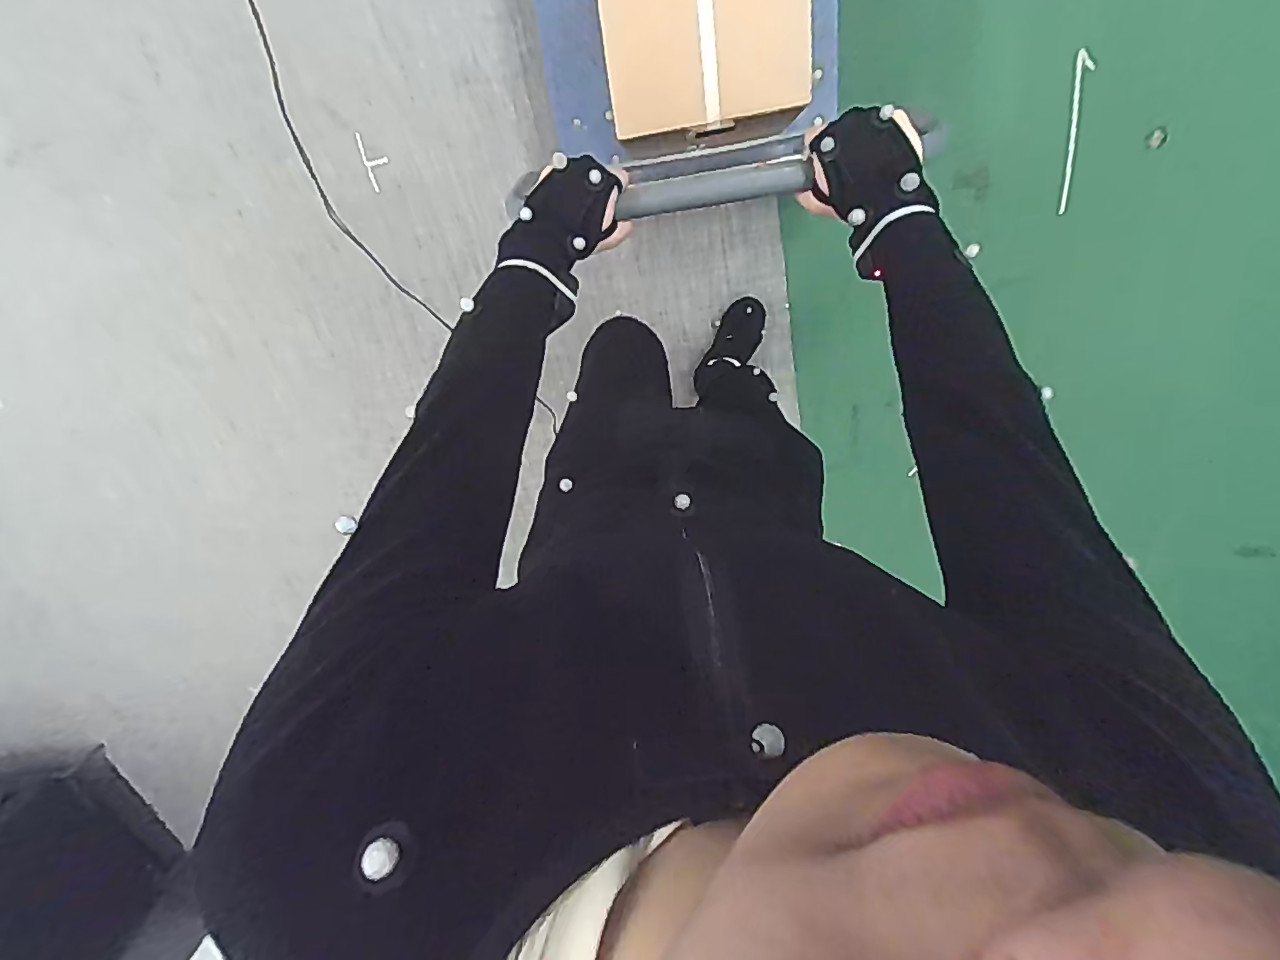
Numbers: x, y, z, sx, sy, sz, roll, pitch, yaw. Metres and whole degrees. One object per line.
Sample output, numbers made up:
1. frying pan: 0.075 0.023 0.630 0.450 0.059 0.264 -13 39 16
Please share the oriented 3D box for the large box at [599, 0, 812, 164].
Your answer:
1. large box: 0.101 -0.814 0.926 0.320 0.320 0.408 -6 113 7
